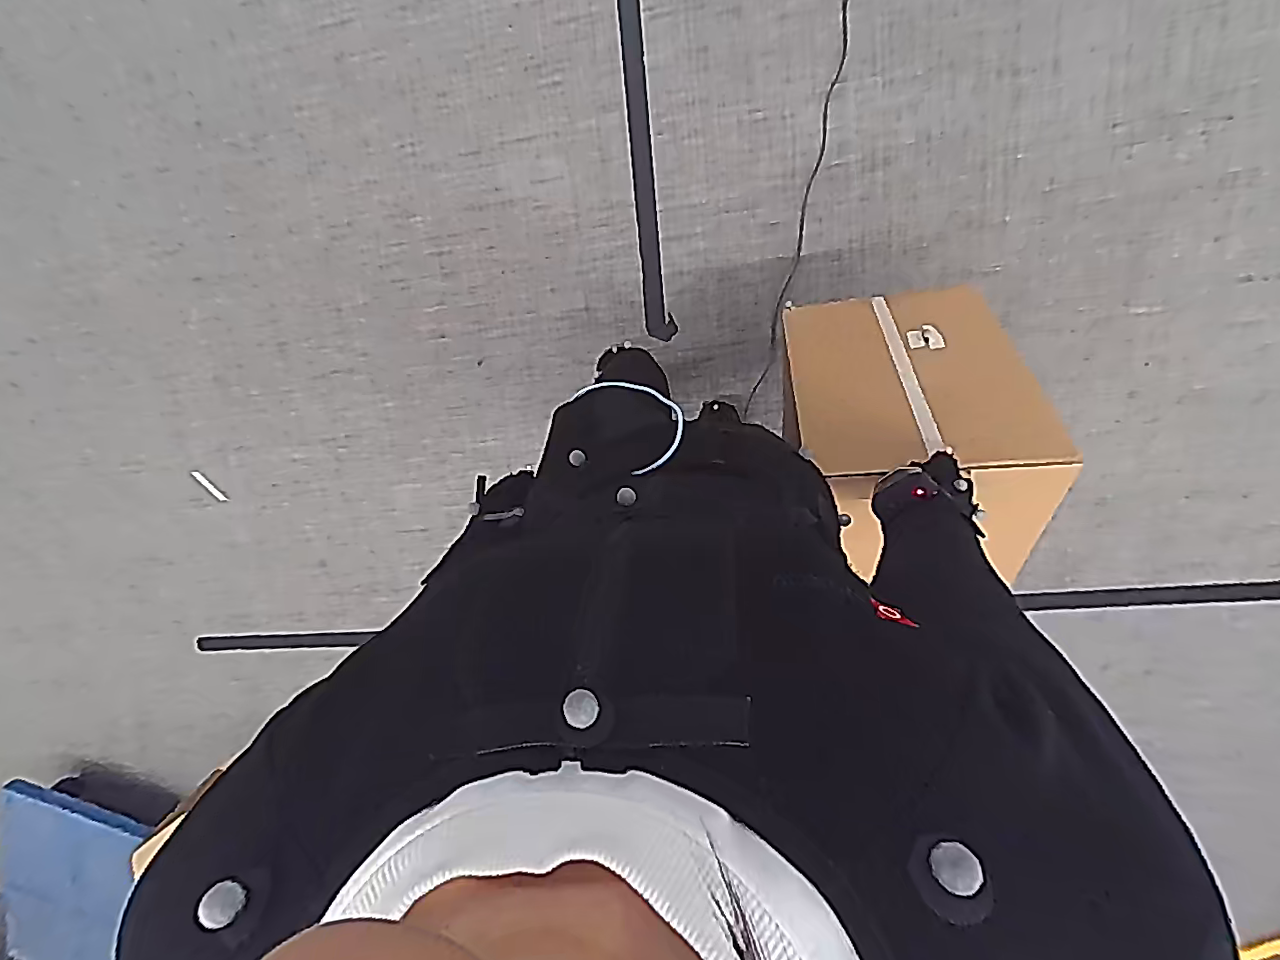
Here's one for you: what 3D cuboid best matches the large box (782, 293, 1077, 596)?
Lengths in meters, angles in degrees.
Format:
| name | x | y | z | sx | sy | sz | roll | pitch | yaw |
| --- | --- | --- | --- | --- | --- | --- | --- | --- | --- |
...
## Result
| name | x | y | z | sx | sy | sz | roll | pitch | yaw |
| --- | --- | --- | --- | --- | --- | --- | --- | --- | --- |
| large box | 0.418 | -0.059 | 0.912 | 0.320 | 0.408 | 0.320 | -3 | 136 | 10 |
